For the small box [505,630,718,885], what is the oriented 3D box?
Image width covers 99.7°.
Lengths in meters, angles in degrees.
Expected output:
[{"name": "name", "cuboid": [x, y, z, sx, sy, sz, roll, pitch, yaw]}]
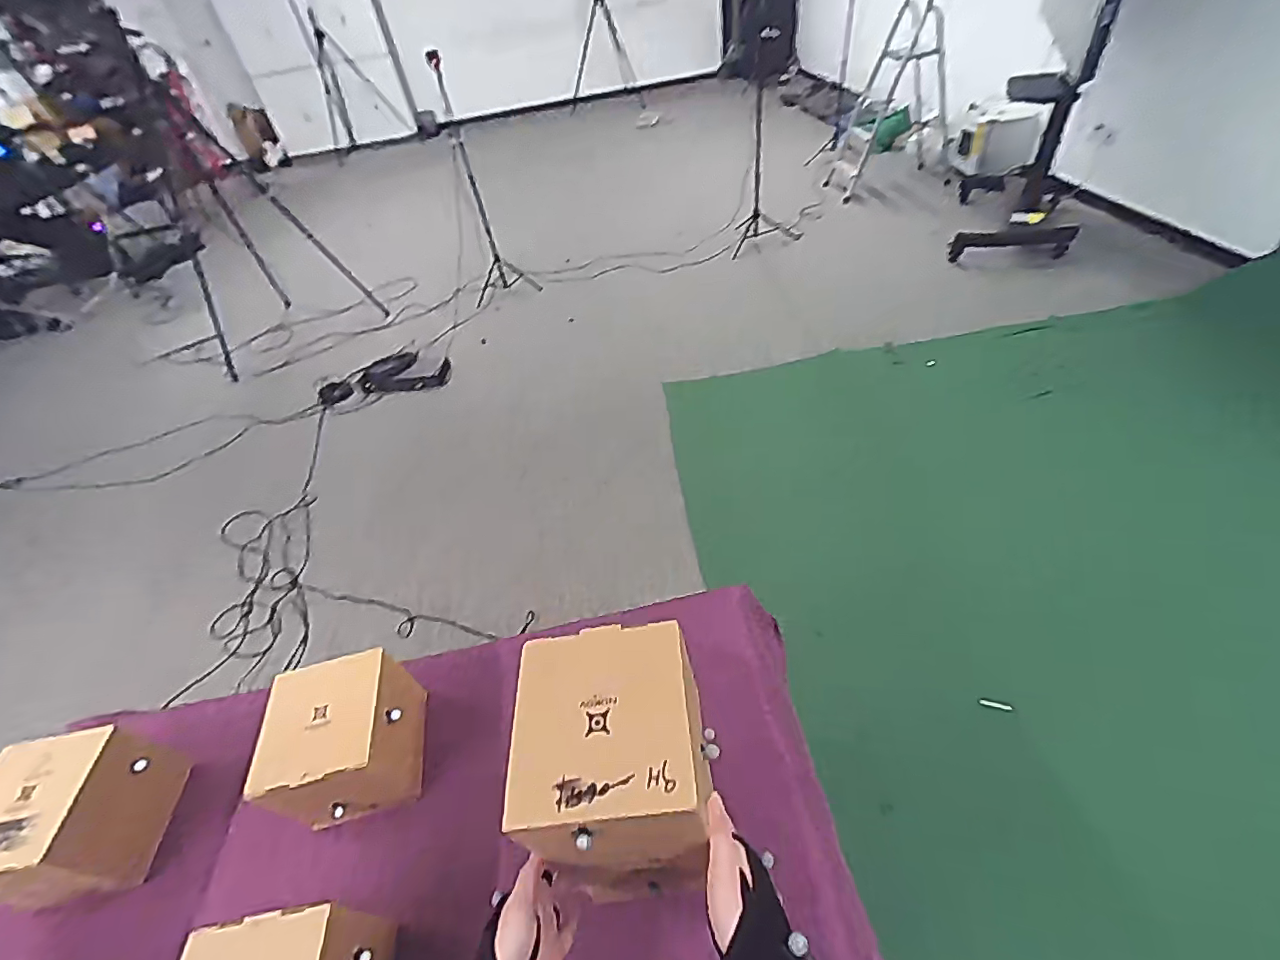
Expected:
[{"name": "small box", "cuboid": [-0.019, 0.279, 0.545, 0.168, 0.176, 0.179, -10, 42, 6]}]

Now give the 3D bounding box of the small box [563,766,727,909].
[{"name": "small box", "cuboid": [0.007, 0.394, 0.663, 0.168, 0.176, 0.179, -11, 42, 4]}]

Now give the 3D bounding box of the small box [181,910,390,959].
[{"name": "small box", "cuboid": [-0.402, 0.610, 0.596, 0.168, 0.176, 0.179, -11, 44, 0]}]

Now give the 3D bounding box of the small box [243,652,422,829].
[{"name": "small box", "cuboid": [-0.444, 0.395, 0.819, 0.168, 0.176, 0.179, -13, 46, -5]}]
